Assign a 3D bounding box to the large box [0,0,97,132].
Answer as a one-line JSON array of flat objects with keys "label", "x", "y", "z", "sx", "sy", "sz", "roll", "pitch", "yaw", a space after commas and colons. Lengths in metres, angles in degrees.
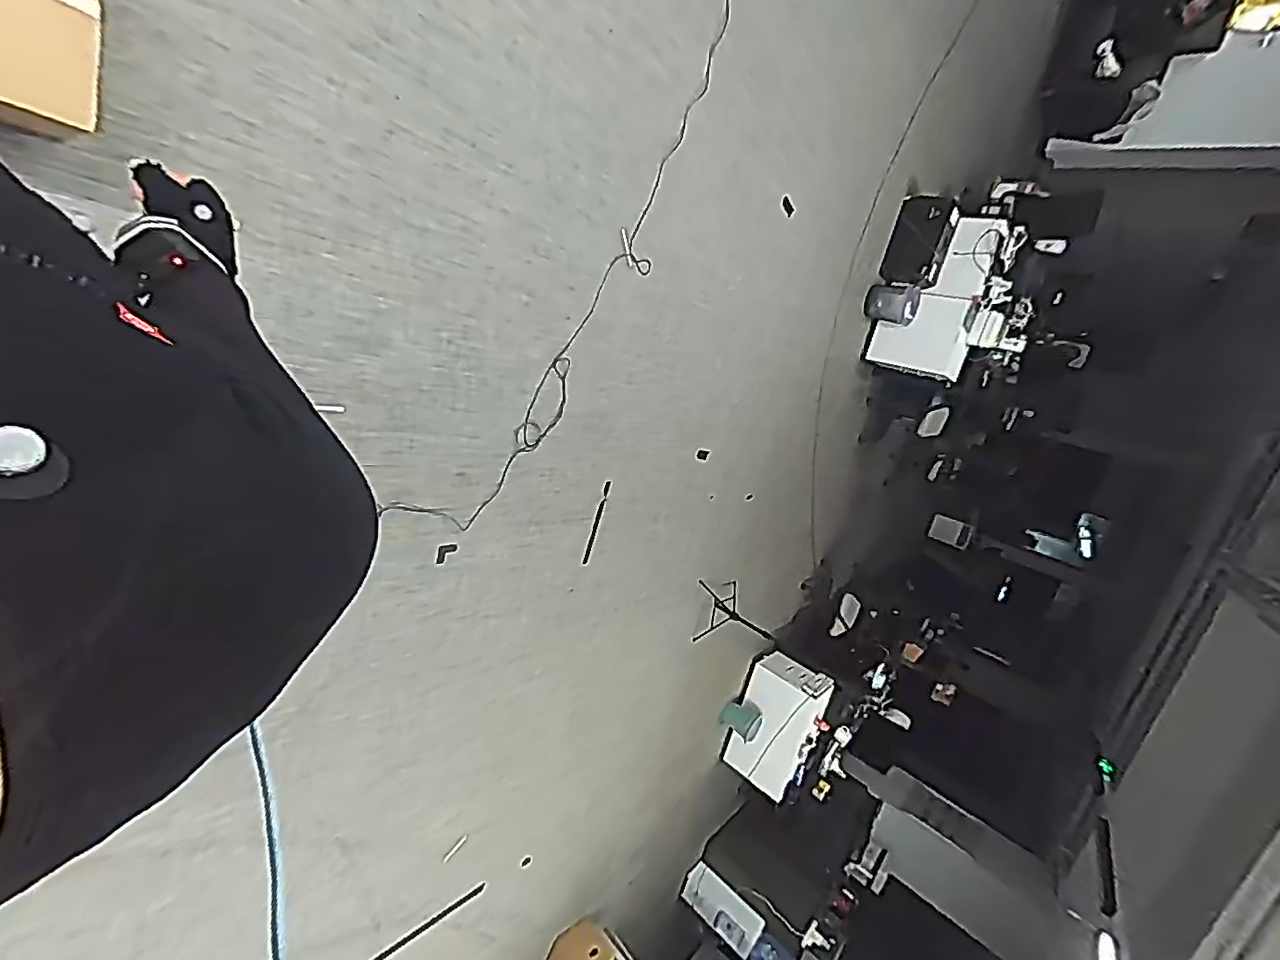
[{"label": "large box", "x": -0.984, "y": -0.695, "z": 0.672, "sx": 0.408, "sy": 0.320, "sz": 0.320, "roll": -2, "pitch": 111, "yaw": -53}]
